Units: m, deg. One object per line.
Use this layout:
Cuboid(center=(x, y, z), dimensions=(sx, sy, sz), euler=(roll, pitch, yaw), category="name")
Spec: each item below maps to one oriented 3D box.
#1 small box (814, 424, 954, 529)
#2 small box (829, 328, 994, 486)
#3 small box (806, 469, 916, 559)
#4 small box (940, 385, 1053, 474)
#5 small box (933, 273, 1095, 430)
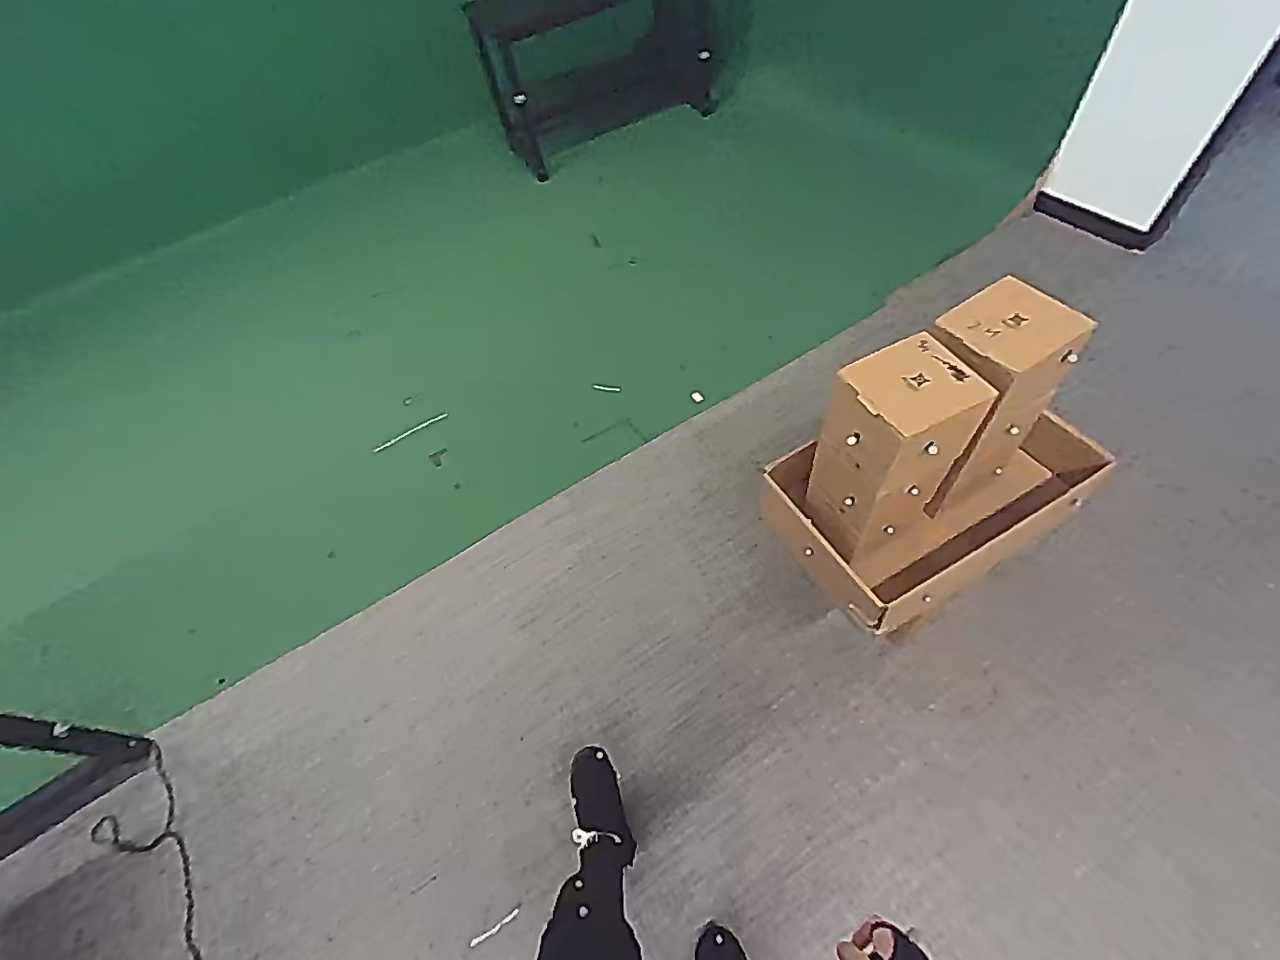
Cuboid(center=(0.460, -0.031, 1.055), dimensions=(0.179, 0.176, 0.168), euler=(-25, 58, -8), category="small box")
Cuboid(center=(0.440, -0.117, 0.917), dimensions=(0.179, 0.176, 0.168), euler=(-25, 58, -7), category="small box")
Cuboid(center=(0.485, 0.047, 1.196), dimensions=(0.179, 0.176, 0.168), euler=(-27, 57, -10), category="small box")
Cuboid(center=(0.669, -0.144, 1.100), dimensions=(0.179, 0.176, 0.168), euler=(-29, 58, -6), category="small box")
Cuboid(center=(0.629, -0.224, 0.959), dimensions=(0.179, 0.176, 0.168), euler=(-30, 57, -8), category="small box")
